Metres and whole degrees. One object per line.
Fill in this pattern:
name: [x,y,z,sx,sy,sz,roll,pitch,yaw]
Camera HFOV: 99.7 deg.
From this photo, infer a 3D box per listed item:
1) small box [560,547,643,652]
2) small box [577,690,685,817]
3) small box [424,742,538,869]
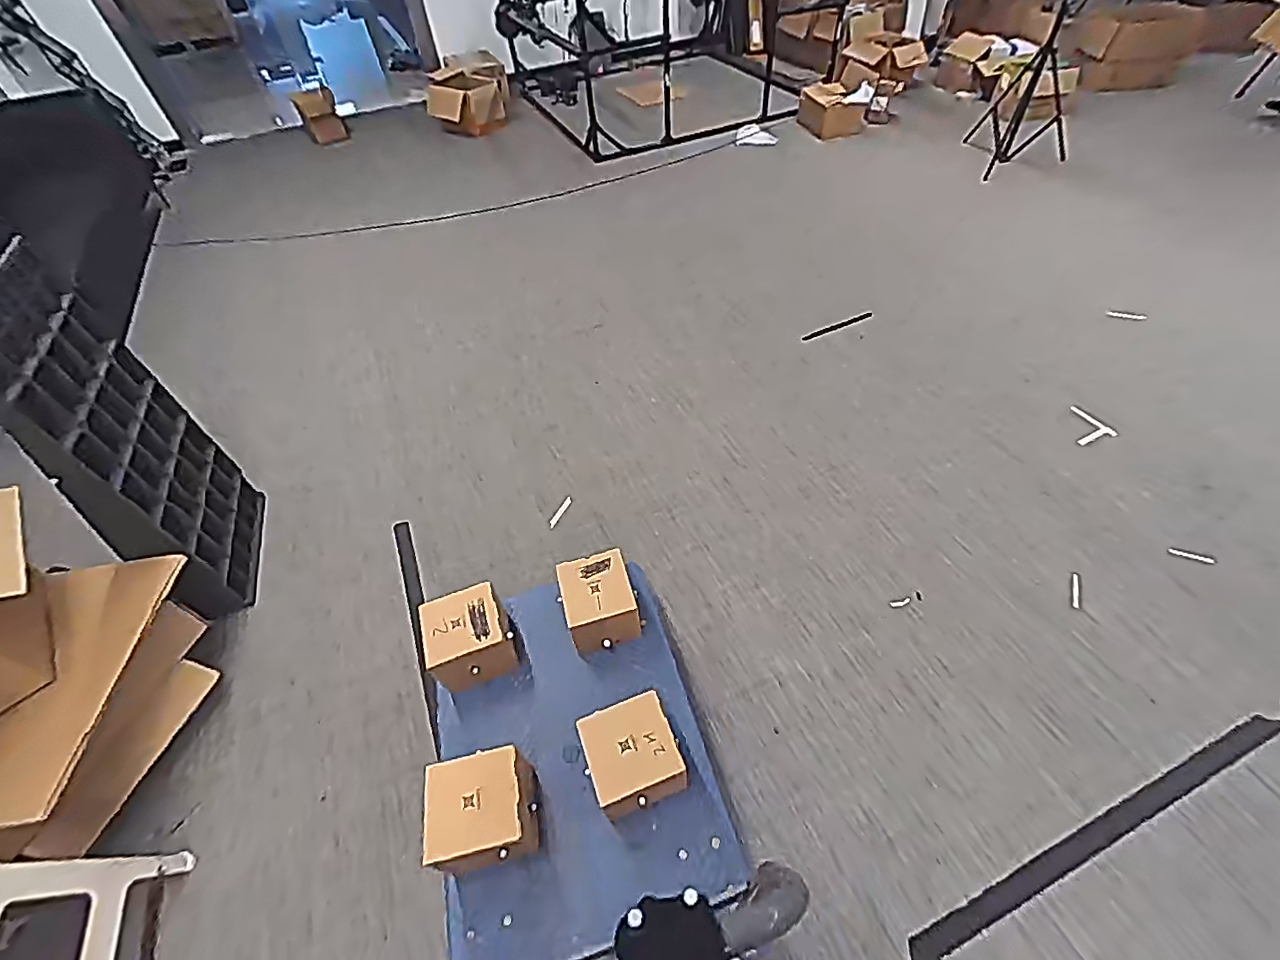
small box: [-0.095,0.300,1.346,0.168,0.176,0.179,-14,51,-7]
small box: [-0.014,0.567,1.115,0.179,0.176,0.168,-17,51,-10]
small box: [-0.309,0.647,1.071,0.179,0.176,0.168,-11,49,-7]
